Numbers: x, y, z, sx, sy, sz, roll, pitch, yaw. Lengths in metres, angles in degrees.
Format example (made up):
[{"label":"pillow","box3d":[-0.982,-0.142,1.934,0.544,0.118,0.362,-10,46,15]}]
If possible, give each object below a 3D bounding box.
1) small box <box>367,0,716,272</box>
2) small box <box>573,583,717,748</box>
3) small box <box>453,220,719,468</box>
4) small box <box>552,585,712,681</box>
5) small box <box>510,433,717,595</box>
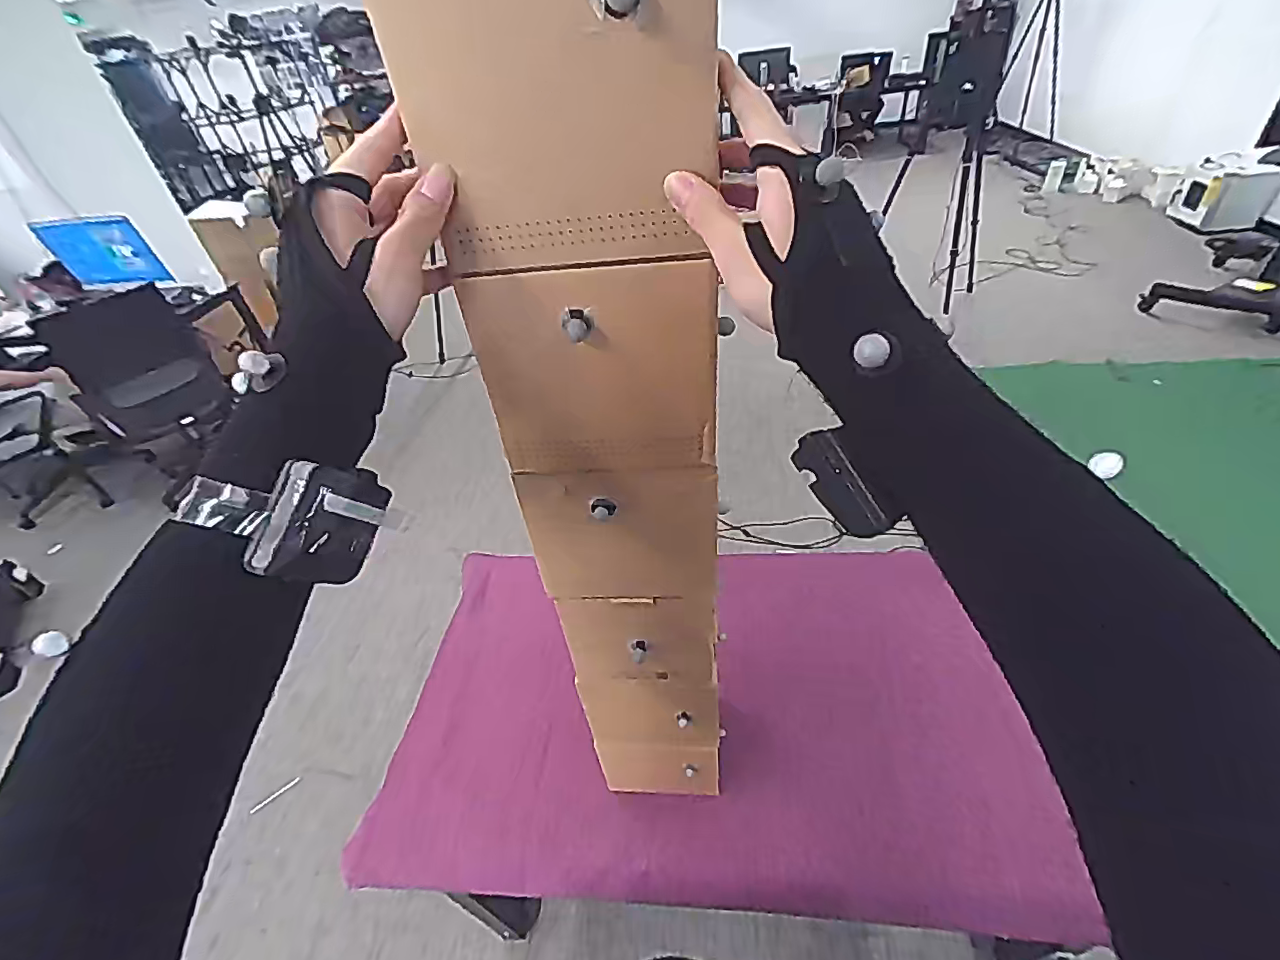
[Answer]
[{"label":"small box","box3d":[-0.039,-0.250,0.355,0.179,0.176,0.168,-2,39,7]},{"label":"small box","box3d":[0.019,0.257,0.761,0.179,0.176,0.168,-2,39,8]},{"label":"small box","box3d":[-0.025,-0.123,0.457,0.179,0.176,0.168,-2,39,7]},{"label":"small box","box3d":[0.003,0.128,0.664,0.168,0.176,0.179,-2,40,6]},{"label":"small box","box3d":[-0.012,0.004,0.557,0.179,0.176,0.168,-2,39,6]}]
